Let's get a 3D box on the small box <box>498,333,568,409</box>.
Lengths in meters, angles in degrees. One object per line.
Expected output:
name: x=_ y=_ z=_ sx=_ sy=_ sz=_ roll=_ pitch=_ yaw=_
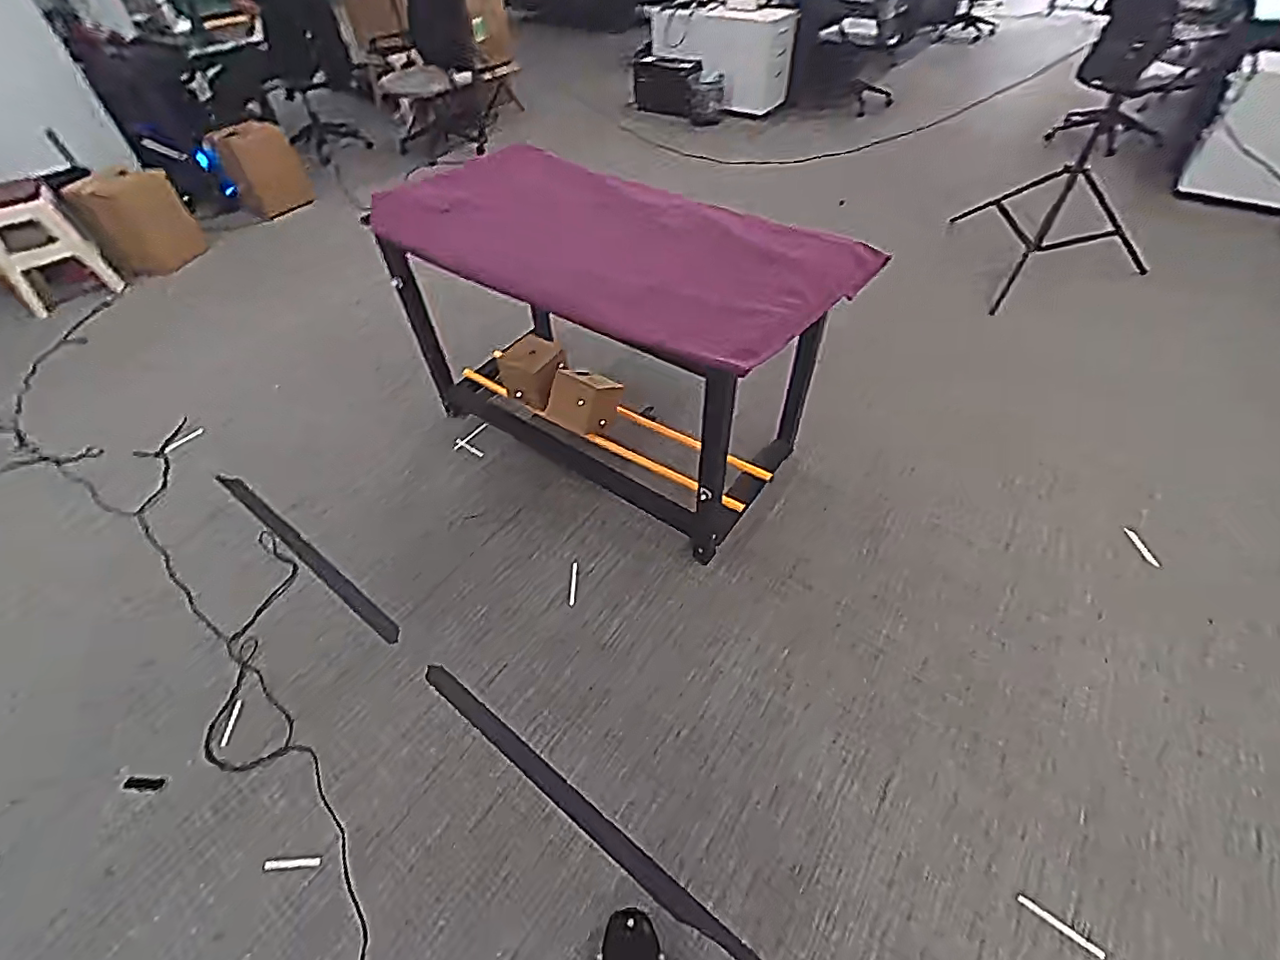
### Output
small box: x=-0.368 y=-0.382 z=1.904 sx=0.168 sy=0.176 sz=0.179 roll=26 pitch=56 yaw=23
